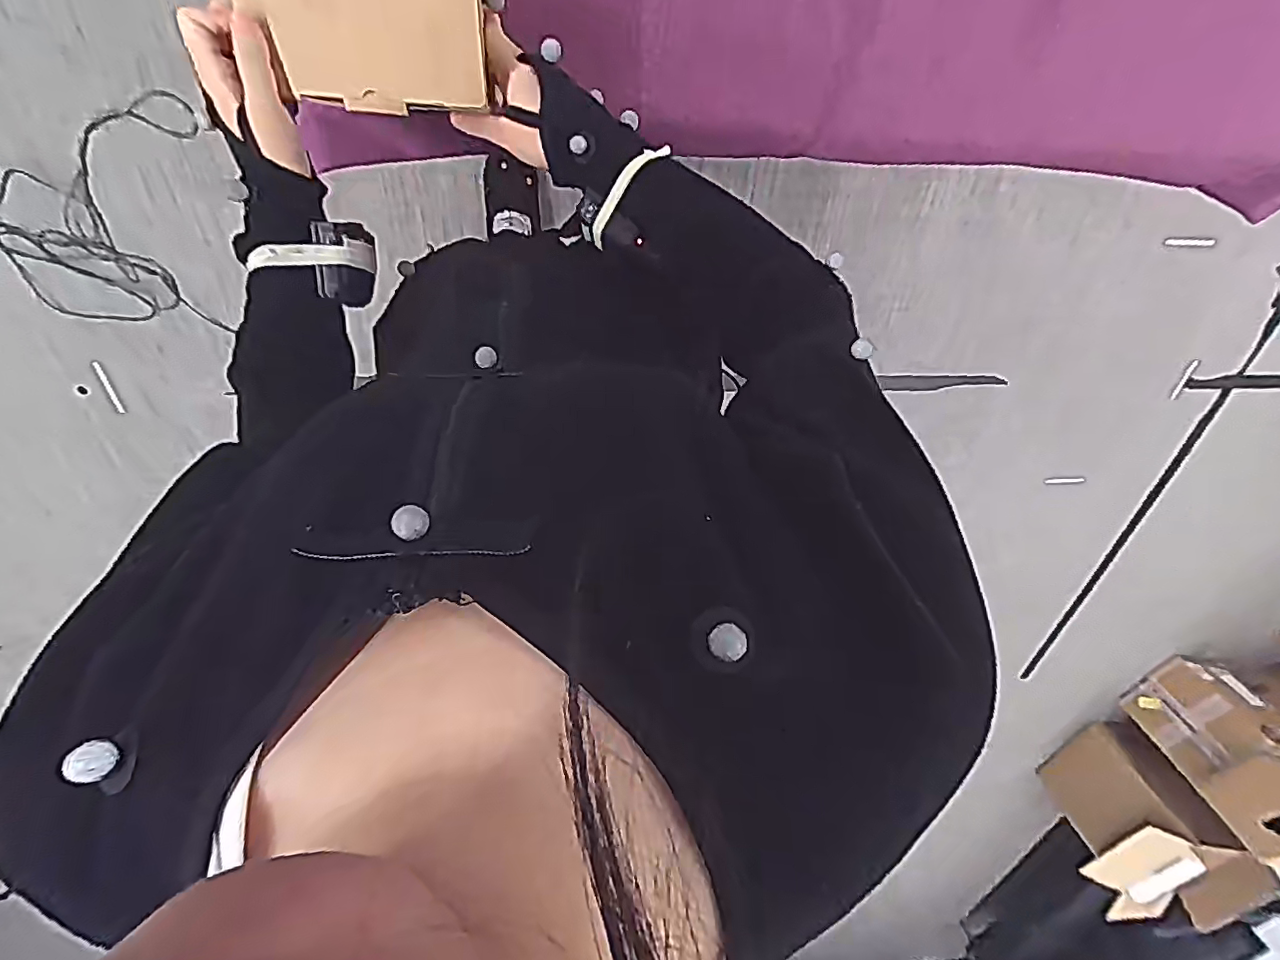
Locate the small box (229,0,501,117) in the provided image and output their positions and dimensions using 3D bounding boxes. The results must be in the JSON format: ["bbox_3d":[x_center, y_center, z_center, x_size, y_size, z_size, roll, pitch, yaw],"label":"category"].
[{"bbox_3d":[-0.203,-0.398,0.419,0.168,0.176,0.179,-1,127,-8],"label":"small box"}]

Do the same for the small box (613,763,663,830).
[{"bbox_3d":[-0.012,1.227,2.106,0.179,0.176,0.168,-2,124,-6],"label":"small box"}]

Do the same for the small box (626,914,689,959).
[{"bbox_3d":[0.052,1.506,1.708,0.179,0.176,0.168,0,123,-9],"label":"small box"}]

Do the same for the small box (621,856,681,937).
[{"bbox_3d":[0.032,1.414,1.839,0.179,0.176,0.168,0,124,-9],"label":"small box"}]
